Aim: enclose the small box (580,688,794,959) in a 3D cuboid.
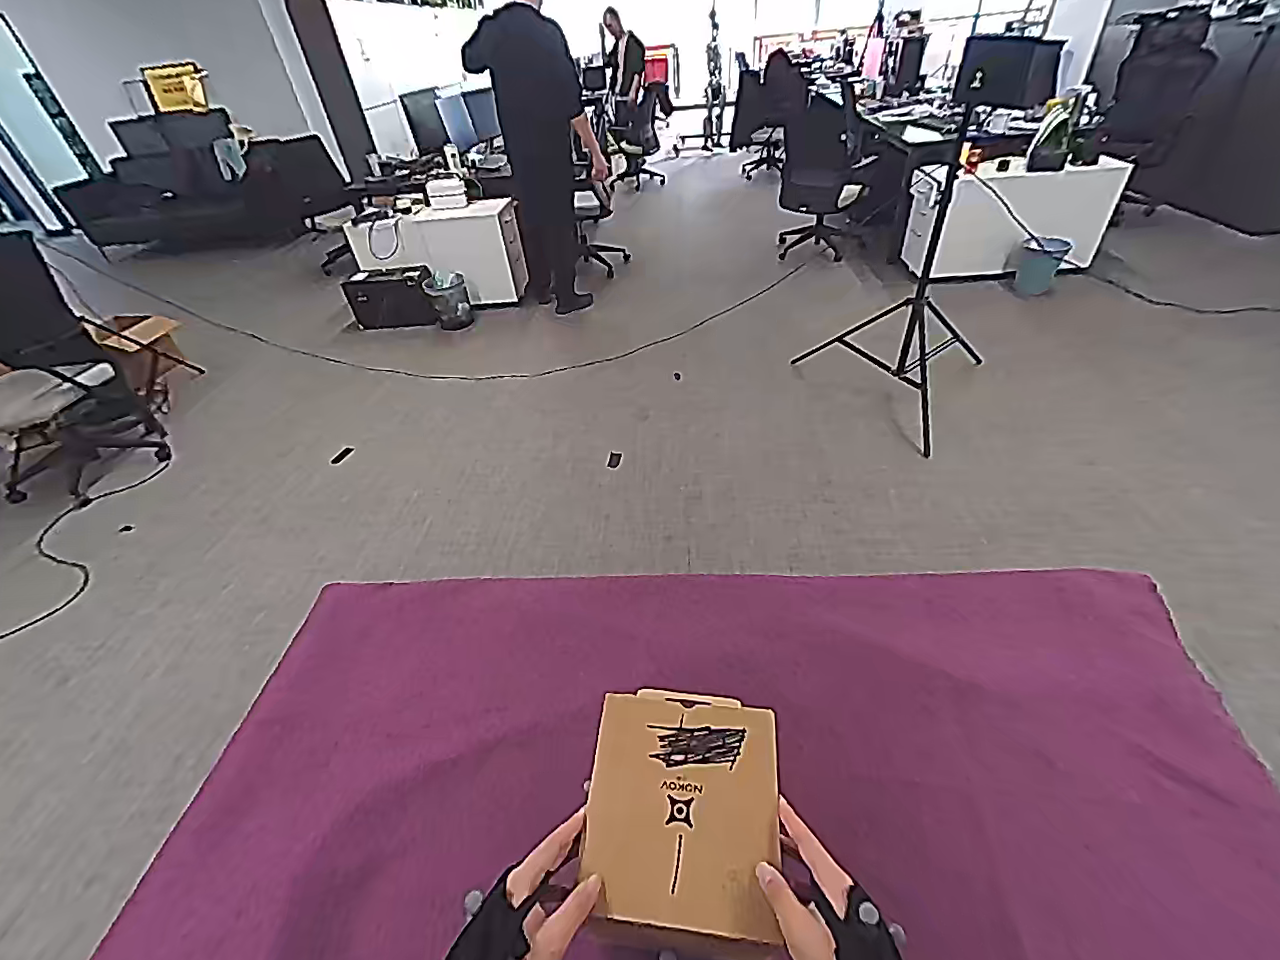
[{"bbox_3d":[0.048,0.328,0.519,0.168,0.176,0.179,3,44,8],"label":"small box"}]
